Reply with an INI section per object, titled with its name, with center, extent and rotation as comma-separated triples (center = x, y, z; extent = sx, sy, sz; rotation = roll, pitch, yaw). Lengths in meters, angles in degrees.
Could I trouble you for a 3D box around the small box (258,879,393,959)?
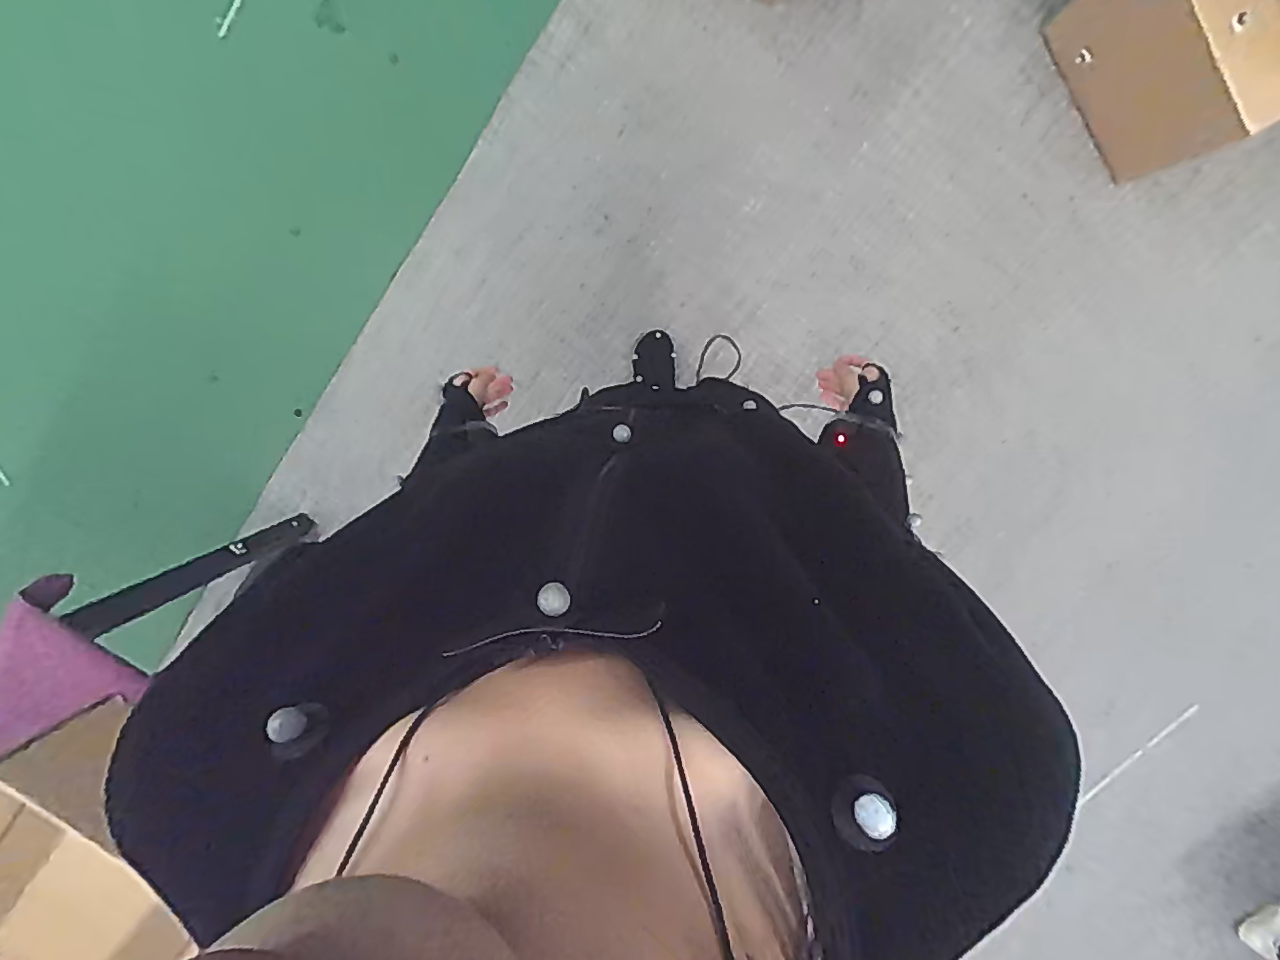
[small box]
center = -0.551, 0.829, 0.908
extent = 0.168, 0.176, 0.179
rotation = 40, 104, -5
